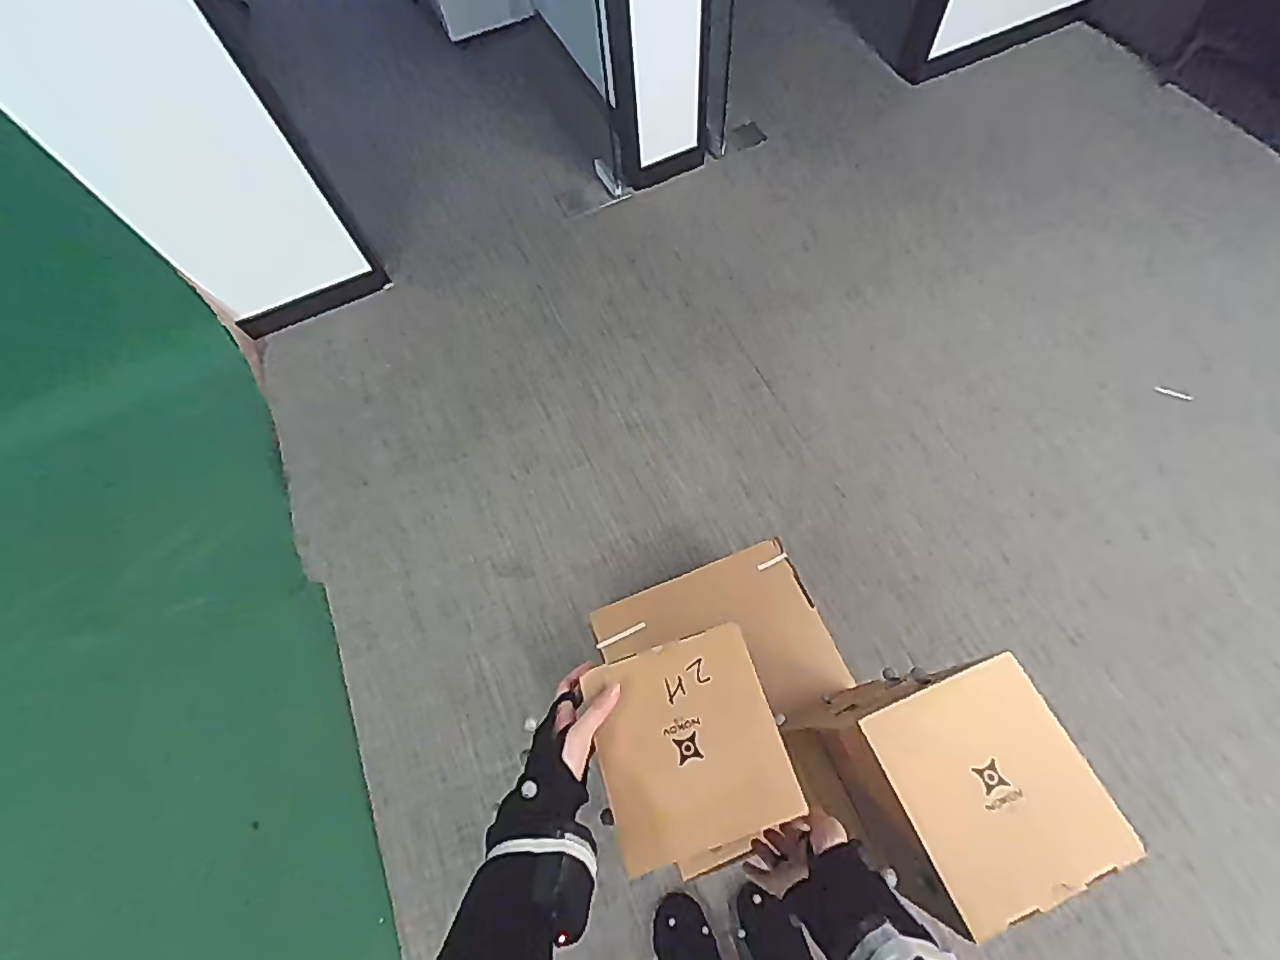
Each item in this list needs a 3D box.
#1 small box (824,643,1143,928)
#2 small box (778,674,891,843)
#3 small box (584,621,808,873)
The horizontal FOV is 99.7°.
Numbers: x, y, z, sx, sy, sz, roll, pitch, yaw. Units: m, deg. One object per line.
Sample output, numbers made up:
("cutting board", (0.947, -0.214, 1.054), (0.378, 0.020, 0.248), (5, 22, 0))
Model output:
("small box", (0.311, 0.288, 0.540), (0.168, 0.176, 0.179), (-22, 65, -7))
("small box", (0.325, 0.422, 0.839), (0.179, 0.176, 0.168), (-24, 65, -6))
("small box", (0.053, 0.269, 0.567), (0.168, 0.176, 0.179), (-17, 64, -4))
